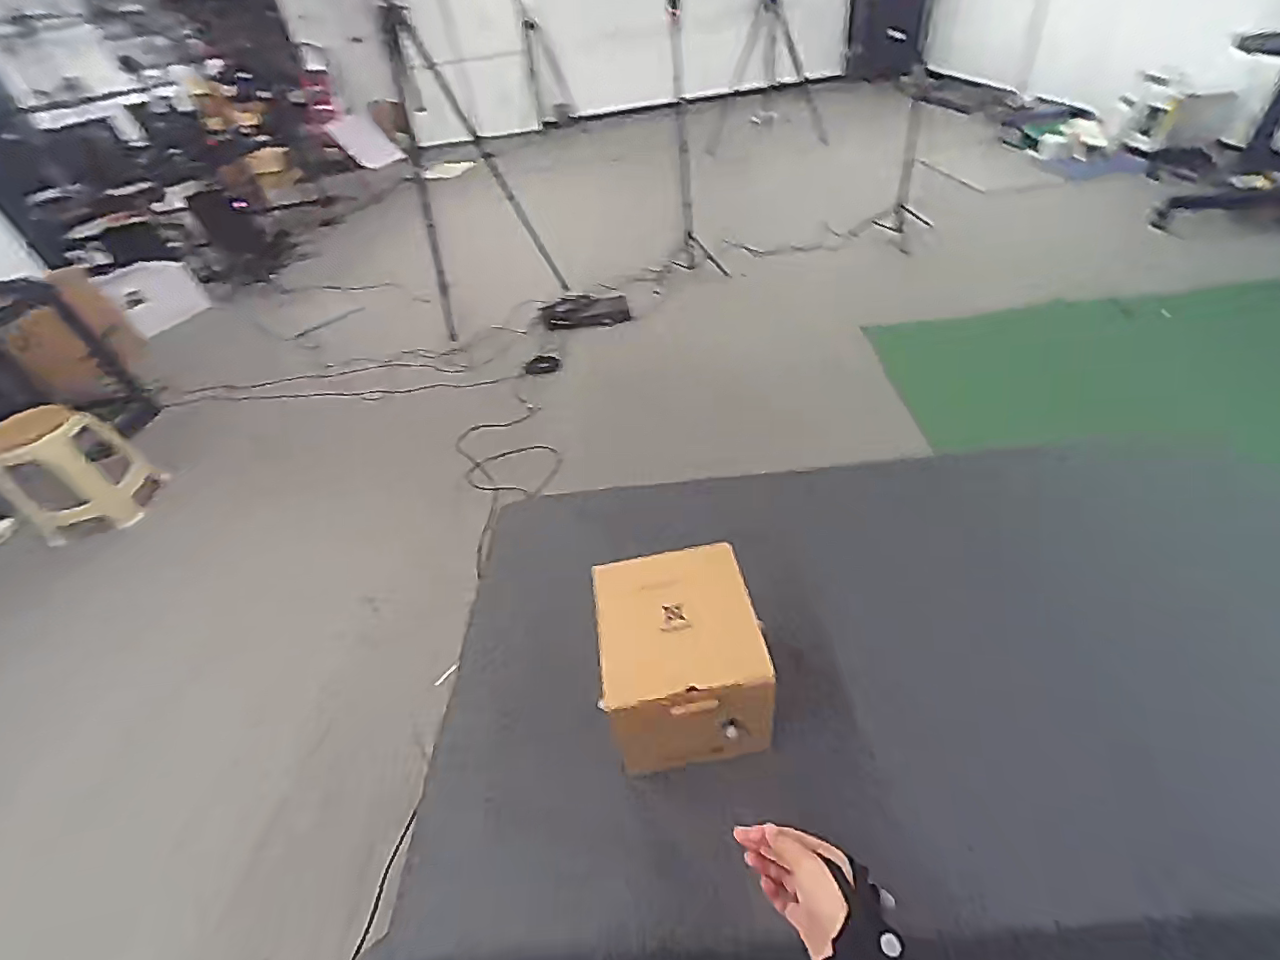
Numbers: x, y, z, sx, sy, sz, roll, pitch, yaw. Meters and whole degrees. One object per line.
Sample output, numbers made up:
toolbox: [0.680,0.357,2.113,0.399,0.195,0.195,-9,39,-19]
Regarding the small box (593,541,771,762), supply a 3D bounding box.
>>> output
small box: [0.045,0.201,0.623,0.168,0.176,0.179,-10,41,-2]
